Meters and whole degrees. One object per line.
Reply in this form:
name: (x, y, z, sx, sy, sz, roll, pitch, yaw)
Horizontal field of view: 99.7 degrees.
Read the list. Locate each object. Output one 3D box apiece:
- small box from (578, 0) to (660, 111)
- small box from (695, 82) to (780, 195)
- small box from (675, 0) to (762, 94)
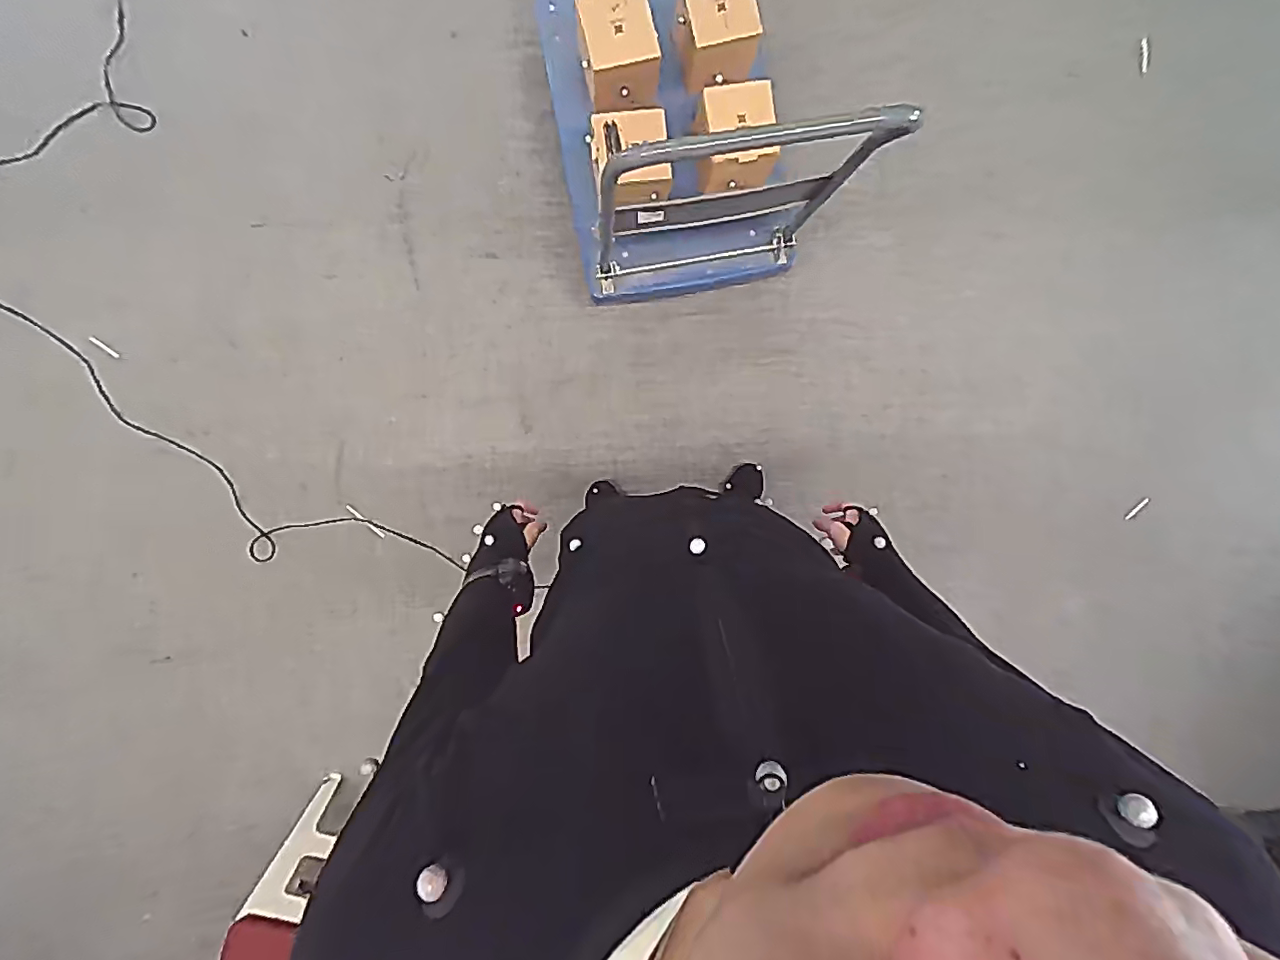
small box: (-0.052, -1.065, 1.357, 0.168, 0.176, 0.179, -15, 93, -3)
small box: (0.242, -0.864, 1.380, 0.168, 0.176, 0.179, -10, 93, -3)
small box: (0.191, -1.130, 1.367, 0.168, 0.176, 0.179, -14, 94, -1)
